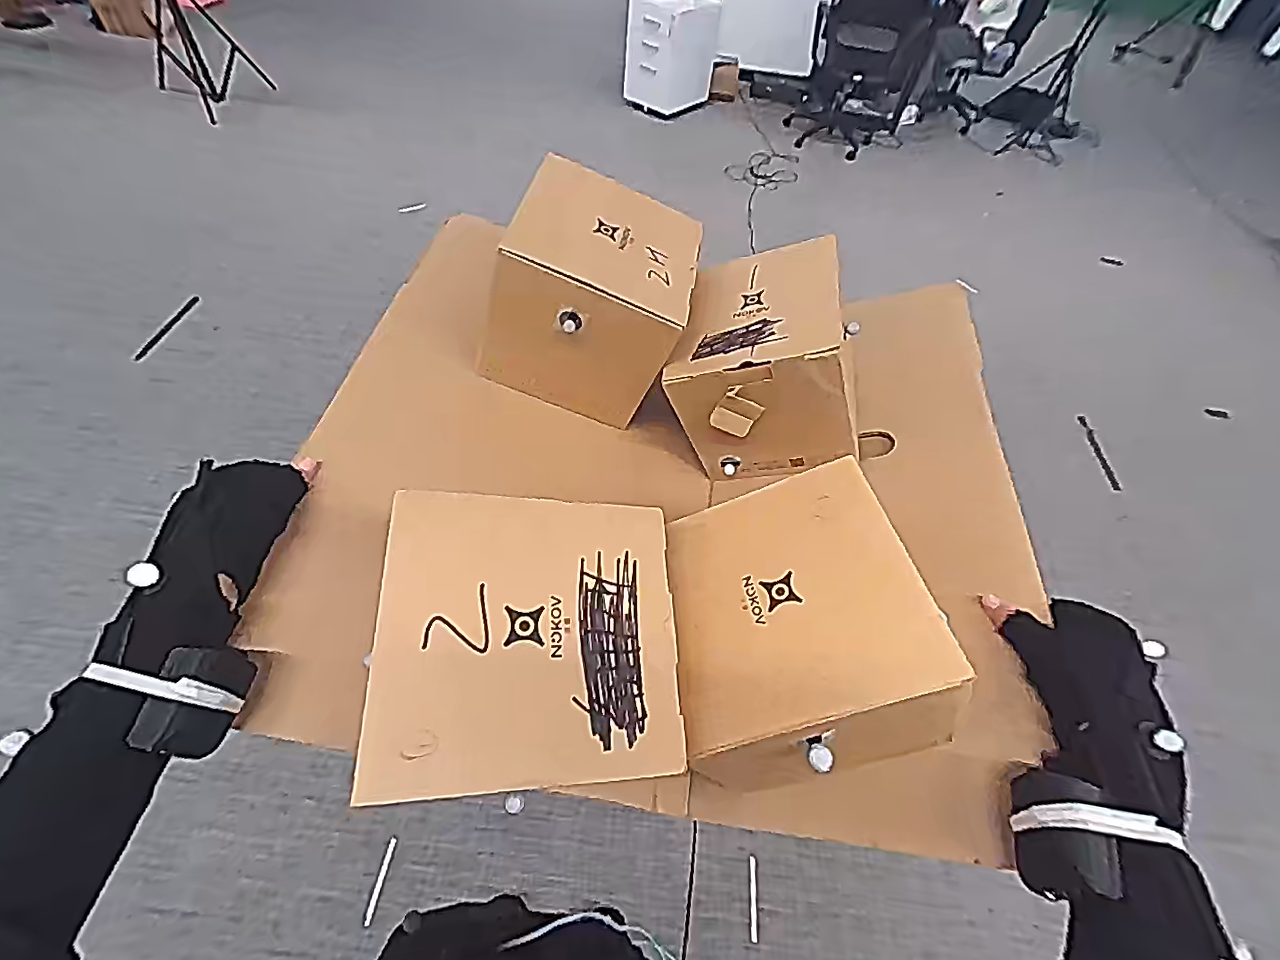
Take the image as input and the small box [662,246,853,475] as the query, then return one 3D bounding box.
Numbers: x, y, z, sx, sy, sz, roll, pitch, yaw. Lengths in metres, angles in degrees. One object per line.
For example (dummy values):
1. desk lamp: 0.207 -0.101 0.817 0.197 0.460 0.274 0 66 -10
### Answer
1. small box: 0.140 -0.118 0.599 0.168 0.176 0.179 -5 52 24
